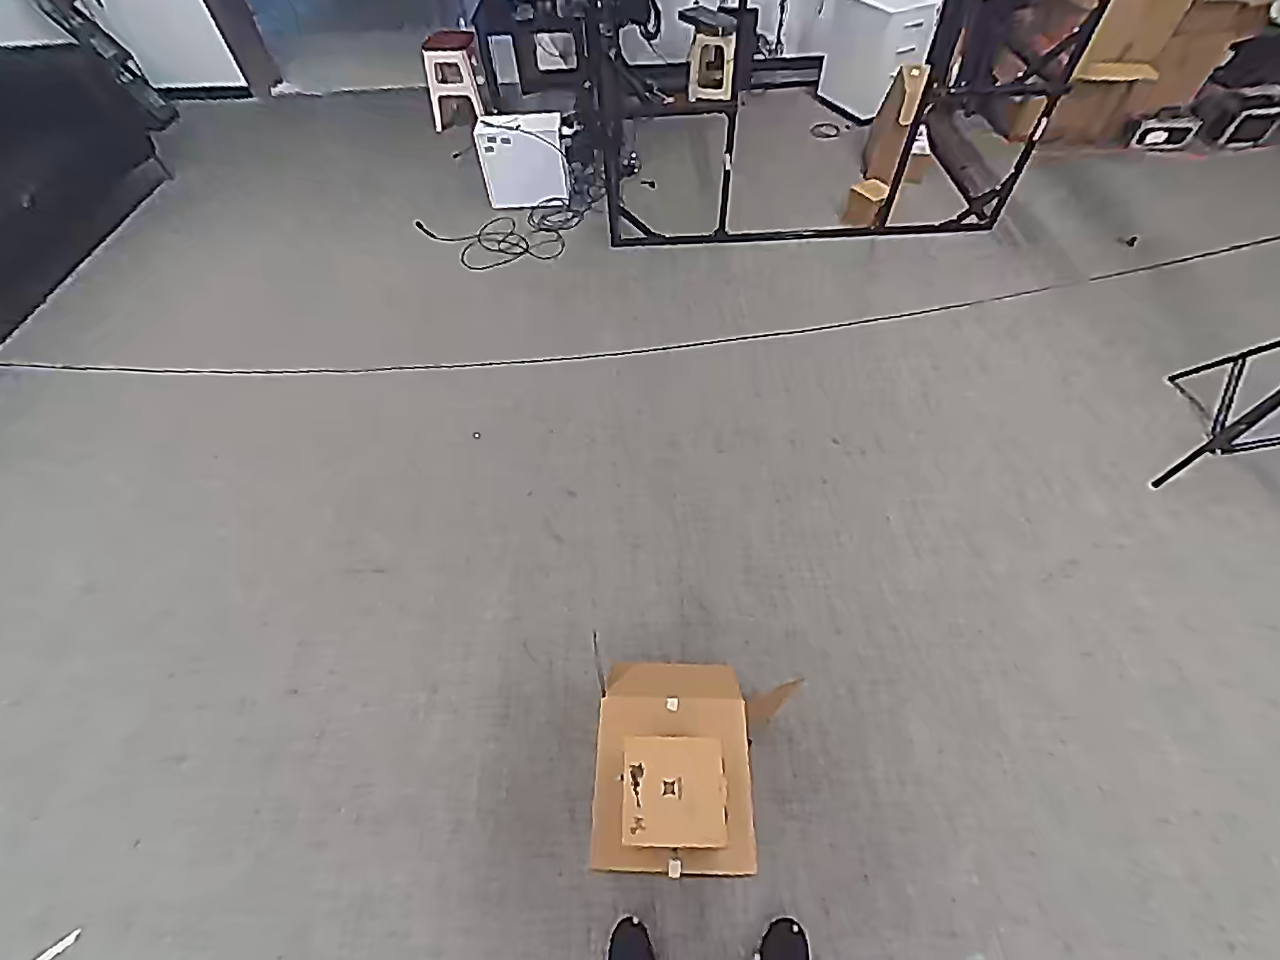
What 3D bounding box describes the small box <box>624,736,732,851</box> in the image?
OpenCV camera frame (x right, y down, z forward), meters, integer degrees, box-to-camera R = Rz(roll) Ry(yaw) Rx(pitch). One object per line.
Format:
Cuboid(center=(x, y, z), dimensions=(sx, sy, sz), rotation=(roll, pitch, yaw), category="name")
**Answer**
Cuboid(center=(0.065, 0.569, 0.979), dimensions=(0.179, 0.176, 0.168), rotation=(0, 55, 2), category="small box")
